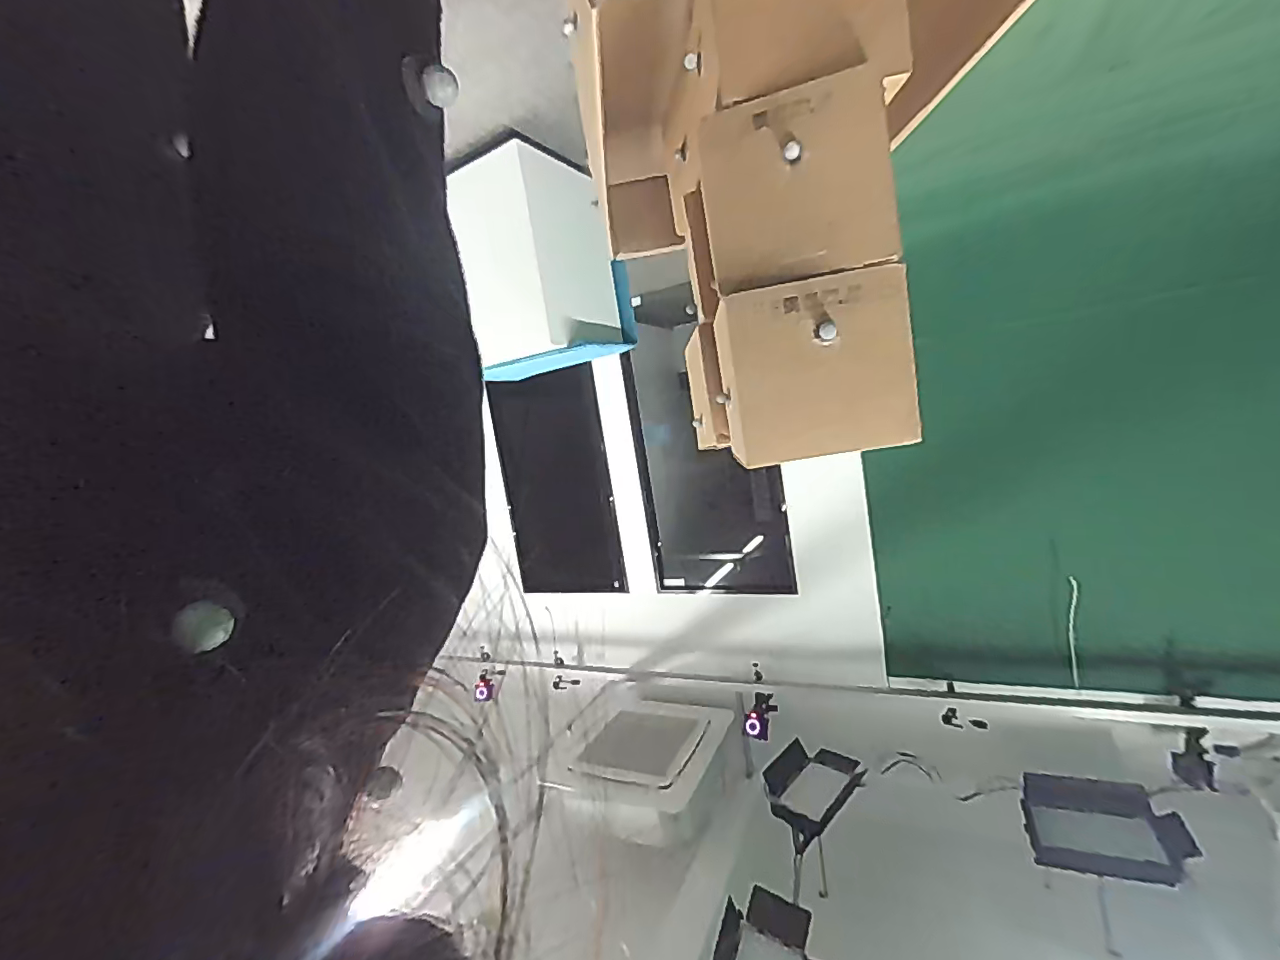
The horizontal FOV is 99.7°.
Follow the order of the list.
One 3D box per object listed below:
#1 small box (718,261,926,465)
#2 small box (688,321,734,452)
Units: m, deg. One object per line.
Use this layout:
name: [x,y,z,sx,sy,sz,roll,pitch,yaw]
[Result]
small box: [0.179,-0.117,0.578,0.168,0.176,0.179,-10,-175,6]
small box: [0.168,-0.139,0.785,0.168,0.176,0.179,-9,-178,-1]
